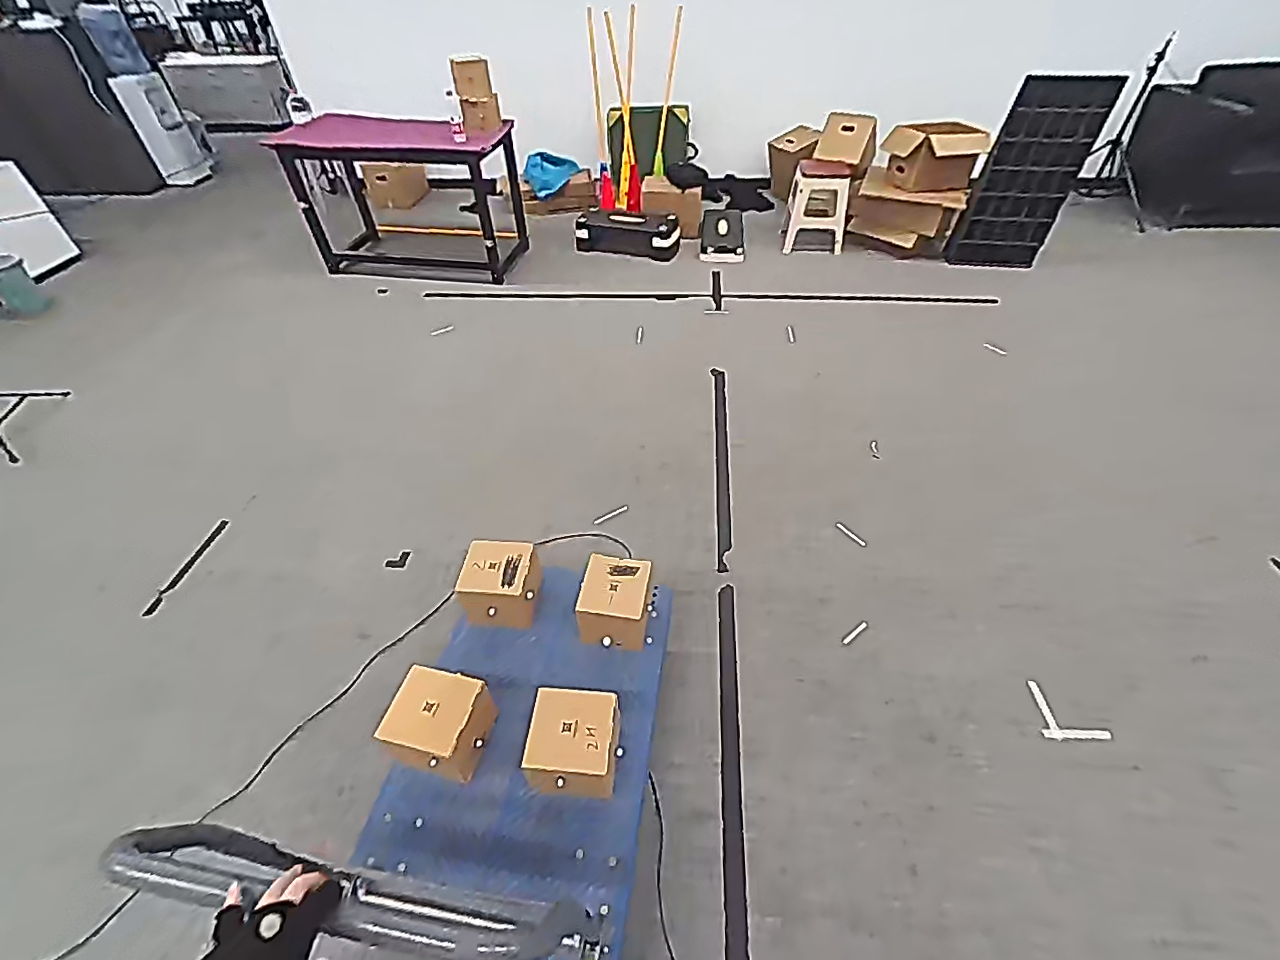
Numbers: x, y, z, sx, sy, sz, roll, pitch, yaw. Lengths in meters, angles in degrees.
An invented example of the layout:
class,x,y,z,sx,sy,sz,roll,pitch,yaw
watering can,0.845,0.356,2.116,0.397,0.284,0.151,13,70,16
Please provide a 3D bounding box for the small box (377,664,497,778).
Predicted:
class,x,y,z,sx,sy,sz,roll,pitch,yaw
small box,-0.444,0.544,1.215,0.179,0.176,0.168,10,46,9

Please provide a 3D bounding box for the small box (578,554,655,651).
class,x,y,z,sx,sy,sz,roll,pitch,yaw
small box,-0.057,0.323,1.427,0.168,0.176,0.179,7,47,8

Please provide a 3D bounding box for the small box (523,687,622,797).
class,x,y,z,sx,sy,sz,roll,pitch,yaw
small box,-0.138,0.573,1.178,0.179,0.176,0.168,3,45,5
